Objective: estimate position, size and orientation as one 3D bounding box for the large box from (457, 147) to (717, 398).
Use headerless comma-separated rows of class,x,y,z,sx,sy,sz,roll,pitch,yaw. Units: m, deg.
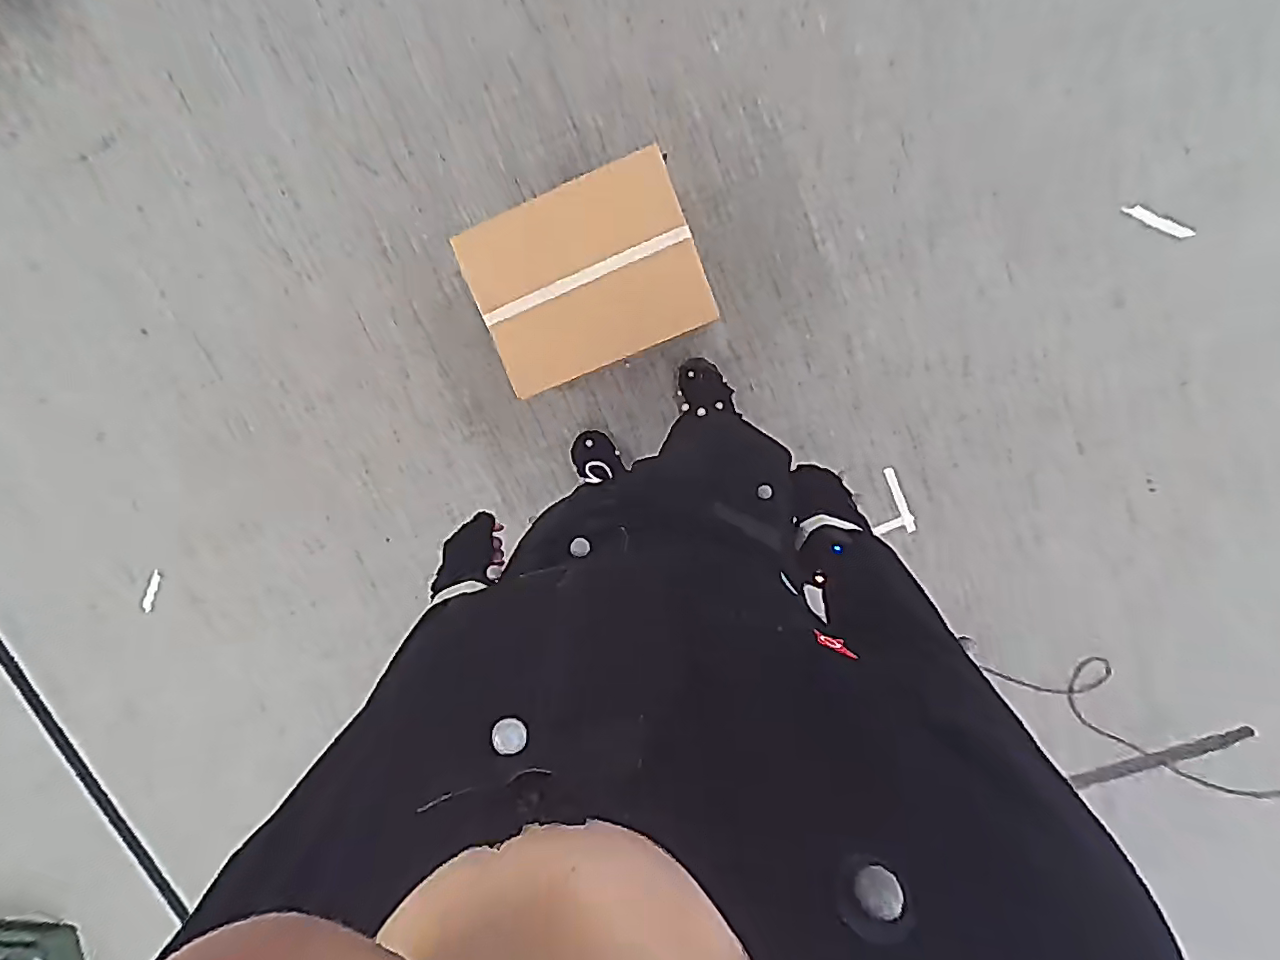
large box,-0.090,-0.395,1.125,0.408,0.320,0.320,-21,101,7
